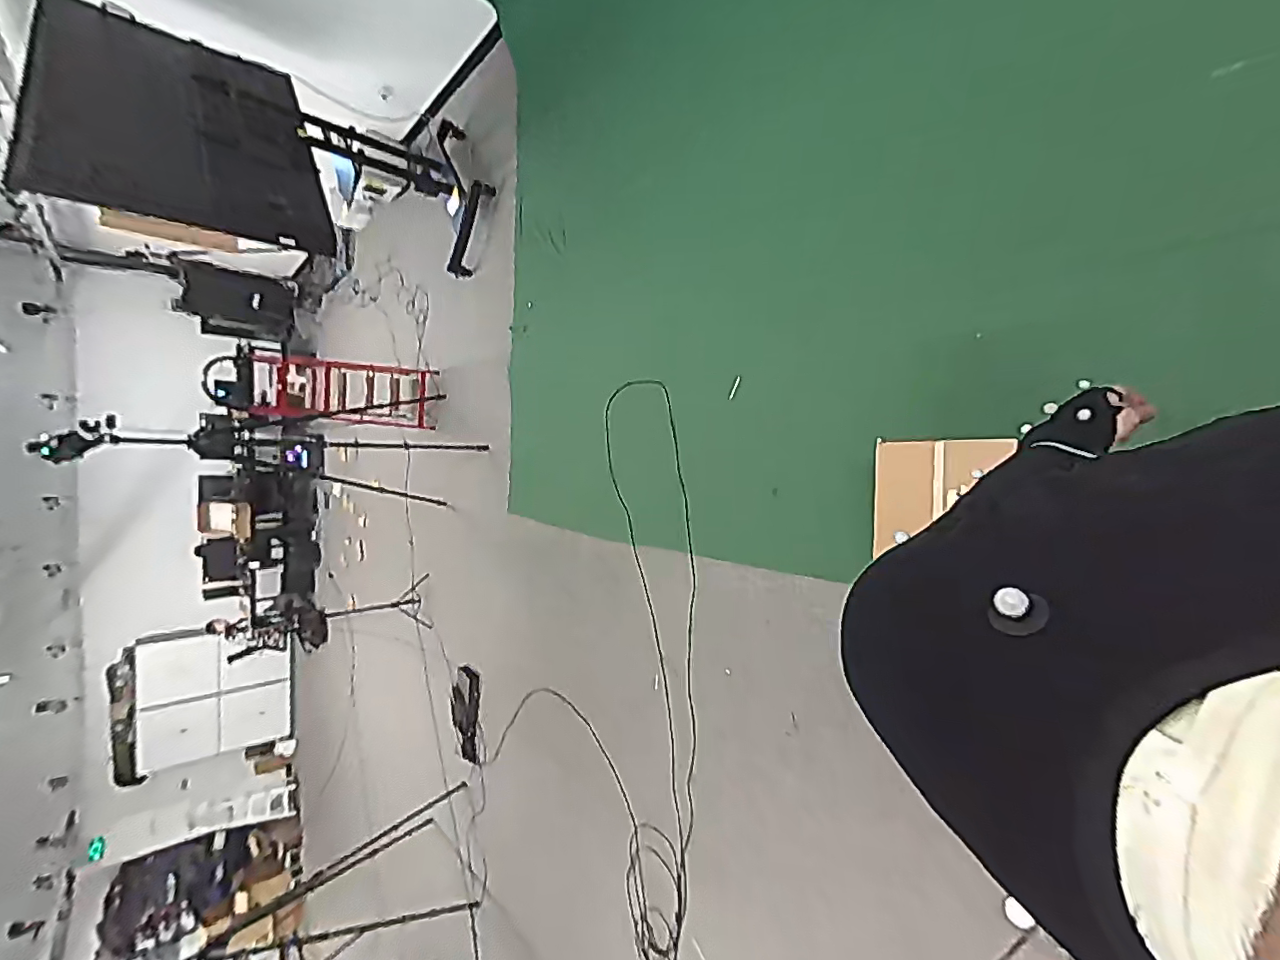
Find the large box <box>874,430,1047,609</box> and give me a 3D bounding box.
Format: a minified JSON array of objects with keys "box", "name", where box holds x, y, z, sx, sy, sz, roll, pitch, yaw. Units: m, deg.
[{"box":[0.829,0.088,1.398,0.320,0.320,0.408,2,91,47],"name":"large box"}]
